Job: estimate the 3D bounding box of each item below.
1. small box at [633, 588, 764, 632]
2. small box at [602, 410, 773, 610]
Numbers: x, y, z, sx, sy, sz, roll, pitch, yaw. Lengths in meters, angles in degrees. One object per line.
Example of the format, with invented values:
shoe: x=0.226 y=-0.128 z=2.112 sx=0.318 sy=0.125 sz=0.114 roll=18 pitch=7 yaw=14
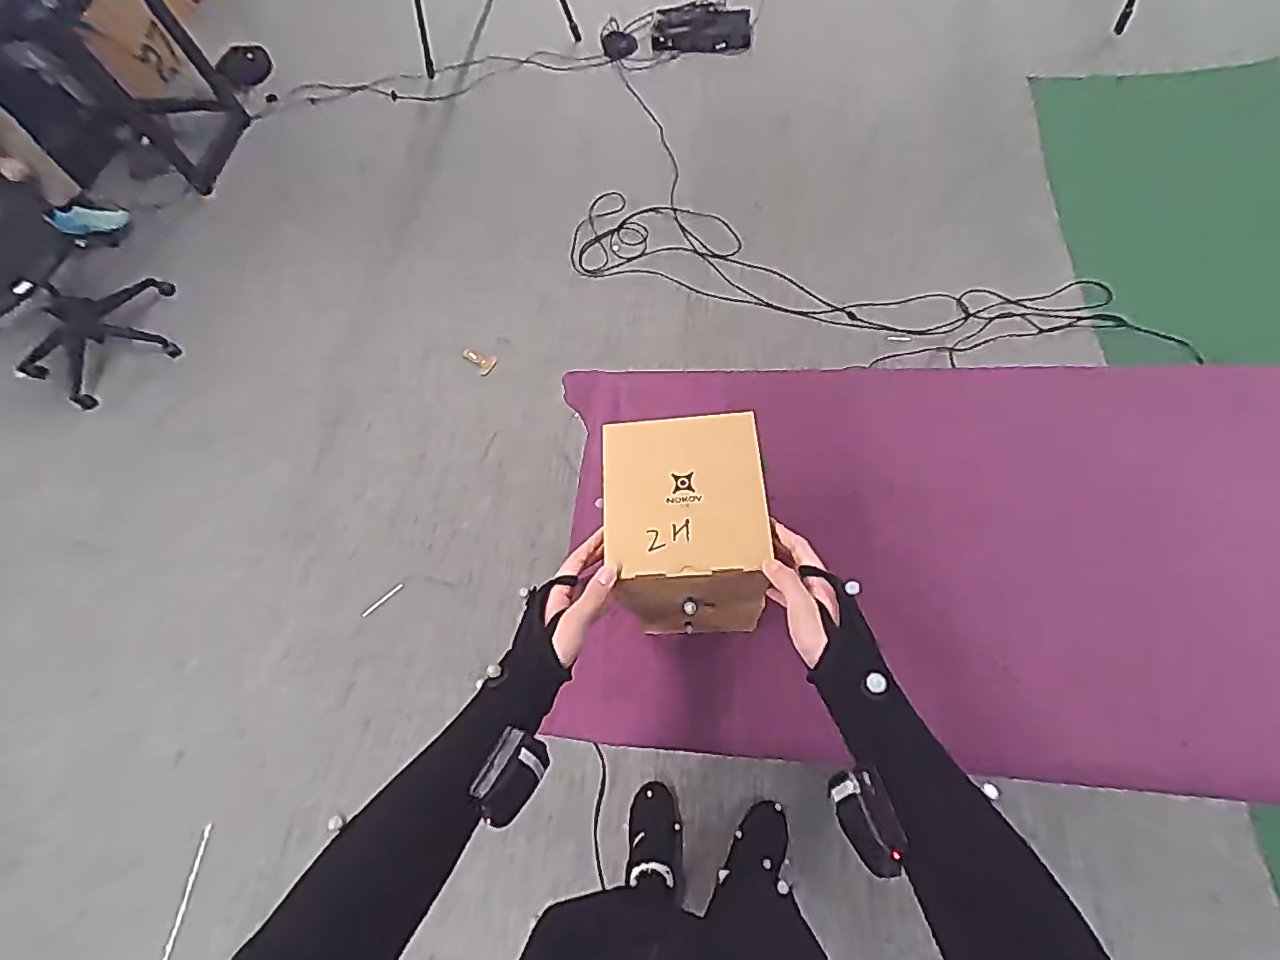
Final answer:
small box: x=0.077 y=0.111 z=0.767 sx=0.168 sy=0.176 sz=0.179 roll=-4 pitch=65 yaw=5
small box: x=0.051 y=0.042 z=0.620 sx=0.168 sy=0.176 sz=0.179 roll=-5 pitch=65 yaw=5
